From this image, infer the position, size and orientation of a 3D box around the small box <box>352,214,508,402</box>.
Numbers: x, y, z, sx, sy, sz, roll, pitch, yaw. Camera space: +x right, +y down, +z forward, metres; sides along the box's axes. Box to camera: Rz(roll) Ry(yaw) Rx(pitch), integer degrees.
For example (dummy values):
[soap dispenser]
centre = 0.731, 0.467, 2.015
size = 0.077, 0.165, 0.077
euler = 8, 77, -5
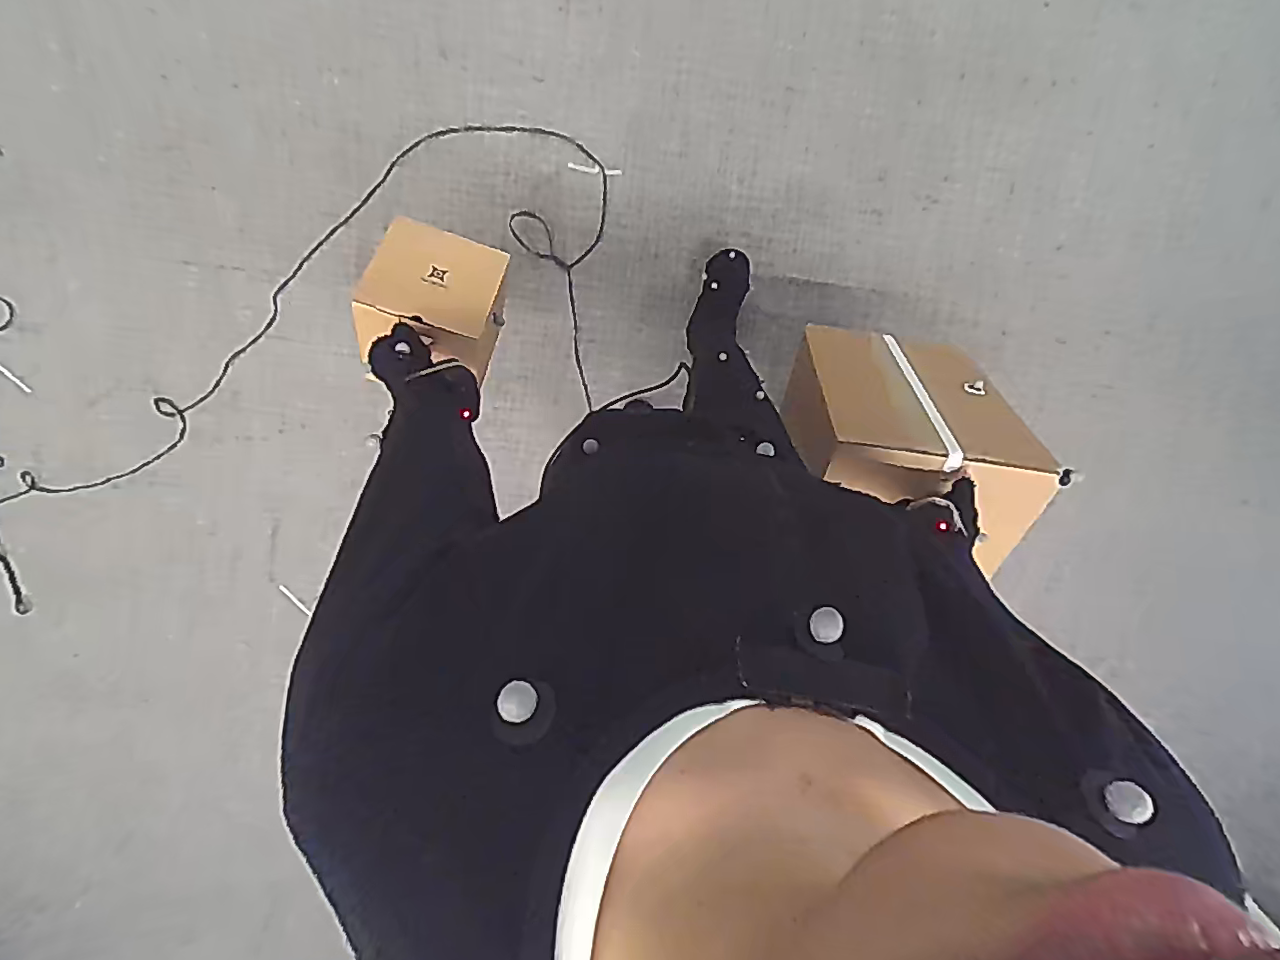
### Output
[small box]
centre = -0.310, -0.250, 0.816
size = 0.168, 0.176, 0.179
euler = 16, 62, -13
